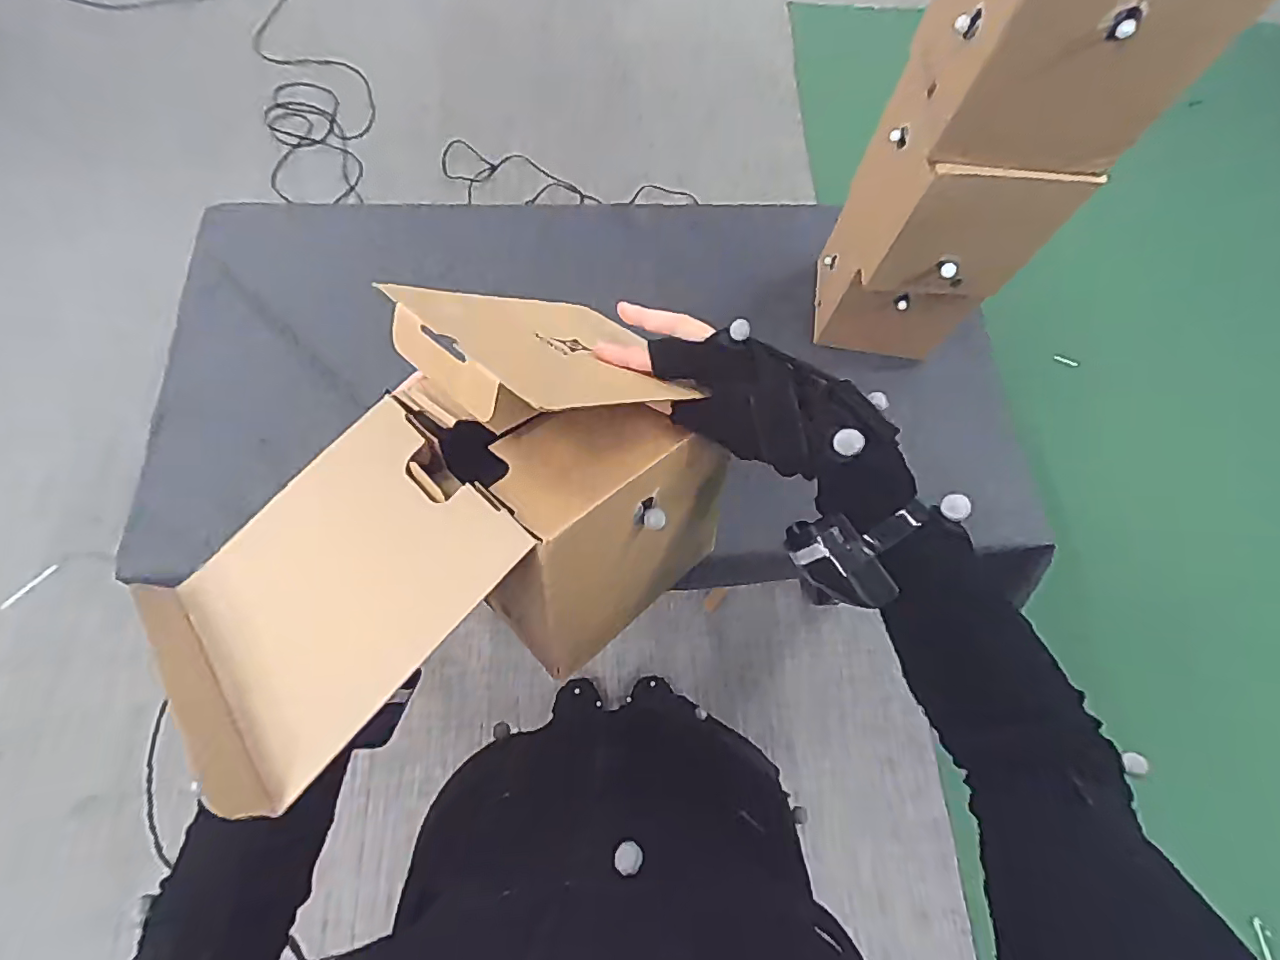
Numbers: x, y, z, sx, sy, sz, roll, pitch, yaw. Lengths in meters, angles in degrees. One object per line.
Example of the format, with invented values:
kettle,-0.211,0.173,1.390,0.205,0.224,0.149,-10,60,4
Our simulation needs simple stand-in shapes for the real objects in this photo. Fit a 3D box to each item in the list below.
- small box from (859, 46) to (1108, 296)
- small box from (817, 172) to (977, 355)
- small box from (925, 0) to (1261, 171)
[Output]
small box,0.363,-0.339,0.611,0.168,0.176,0.179,4,71,0
small box,0.365,-0.299,0.771,0.179,0.176,0.168,10,70,1
small box,0.364,-0.396,0.459,0.179,0.176,0.168,6,71,0
